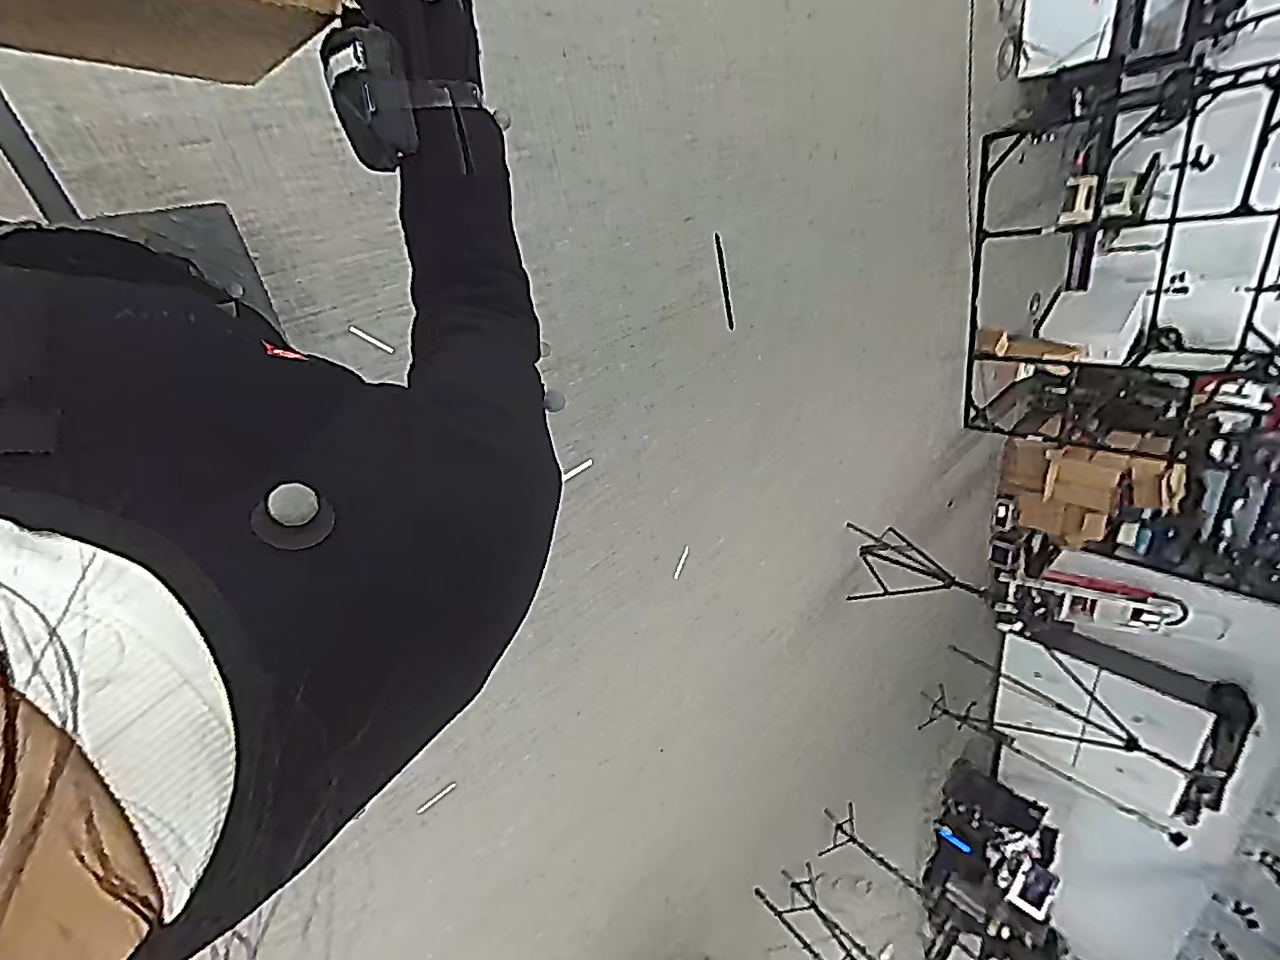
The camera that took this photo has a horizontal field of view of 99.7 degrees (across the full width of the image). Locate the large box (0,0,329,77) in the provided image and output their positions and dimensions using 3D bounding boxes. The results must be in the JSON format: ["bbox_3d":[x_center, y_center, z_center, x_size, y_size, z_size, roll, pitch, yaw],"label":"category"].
[{"bbox_3d":[-0.416,-0.405,0.223,0.408,0.320,0.320,-19,125,-37],"label":"large box"}]
